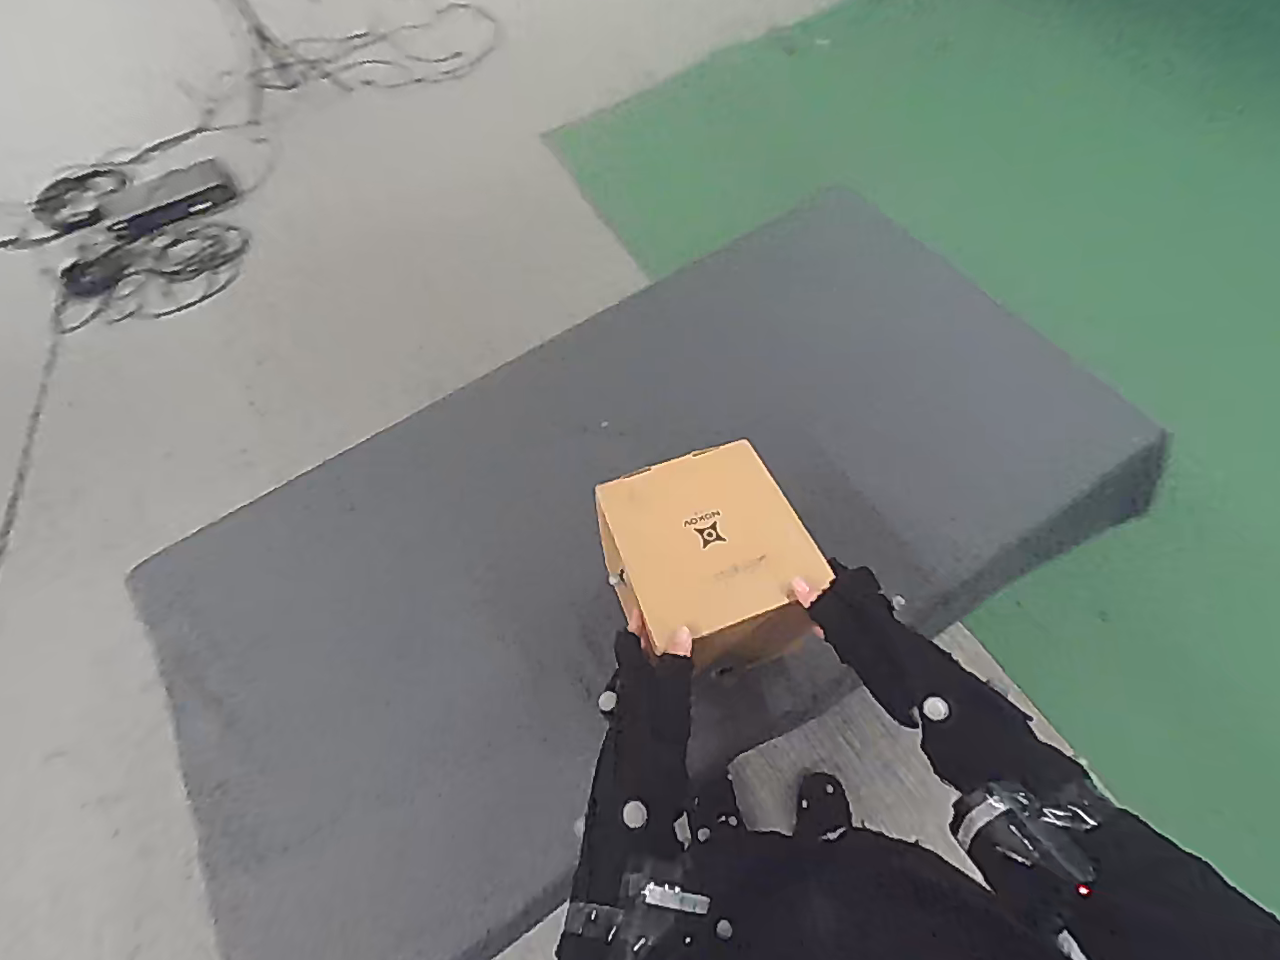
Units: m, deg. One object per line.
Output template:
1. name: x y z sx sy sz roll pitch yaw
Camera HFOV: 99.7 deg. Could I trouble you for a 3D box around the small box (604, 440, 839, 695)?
1. small box: 0.069 0.092 0.557 0.168 0.176 0.179 -18 56 -9
